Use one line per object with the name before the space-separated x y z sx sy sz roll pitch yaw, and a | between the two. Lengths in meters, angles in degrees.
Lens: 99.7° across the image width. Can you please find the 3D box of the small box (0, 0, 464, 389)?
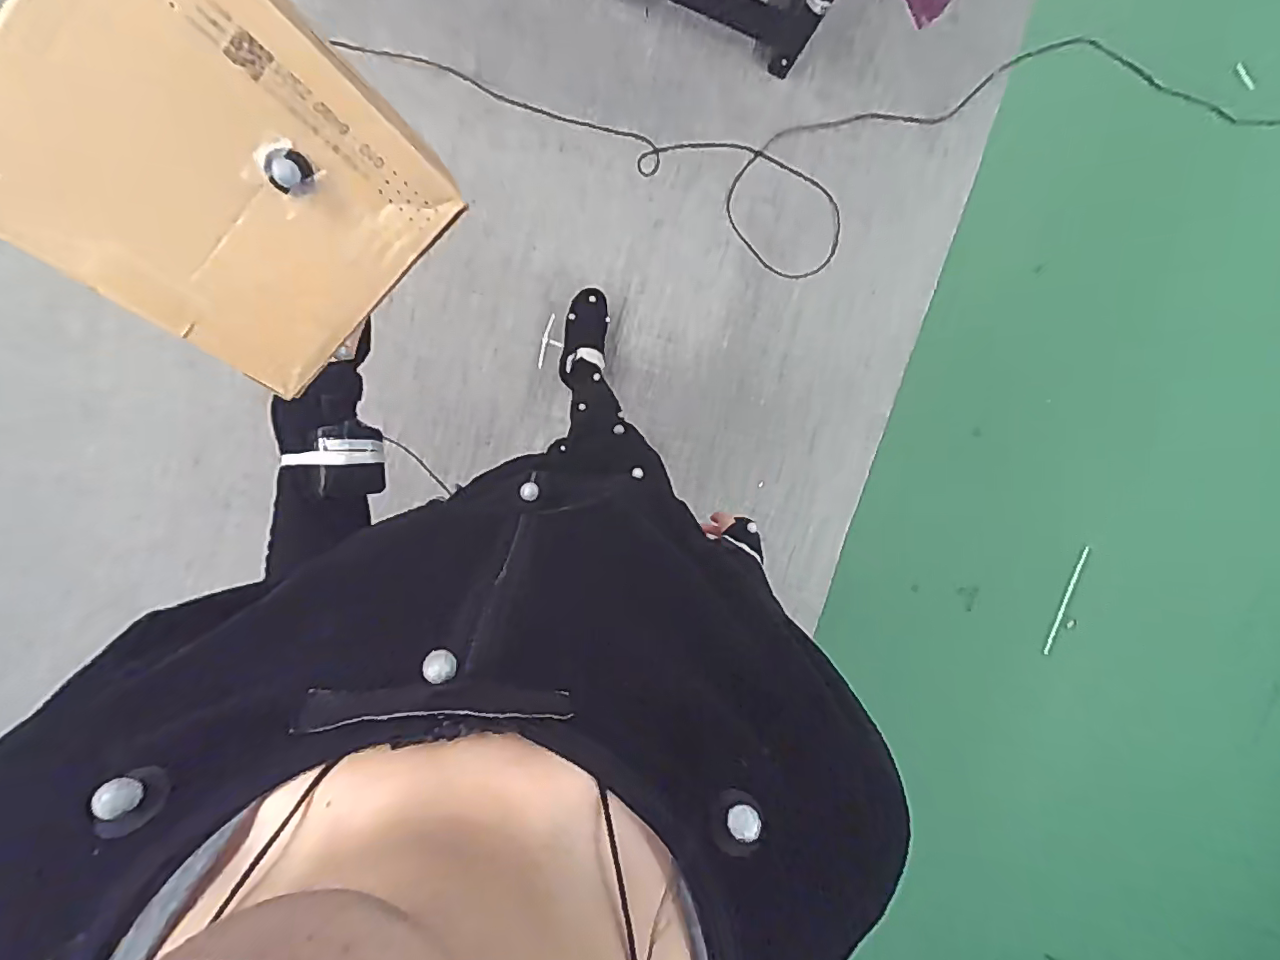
small box | -0.231 -0.197 0.332 0.176 0.179 0.168 -44 132 10
